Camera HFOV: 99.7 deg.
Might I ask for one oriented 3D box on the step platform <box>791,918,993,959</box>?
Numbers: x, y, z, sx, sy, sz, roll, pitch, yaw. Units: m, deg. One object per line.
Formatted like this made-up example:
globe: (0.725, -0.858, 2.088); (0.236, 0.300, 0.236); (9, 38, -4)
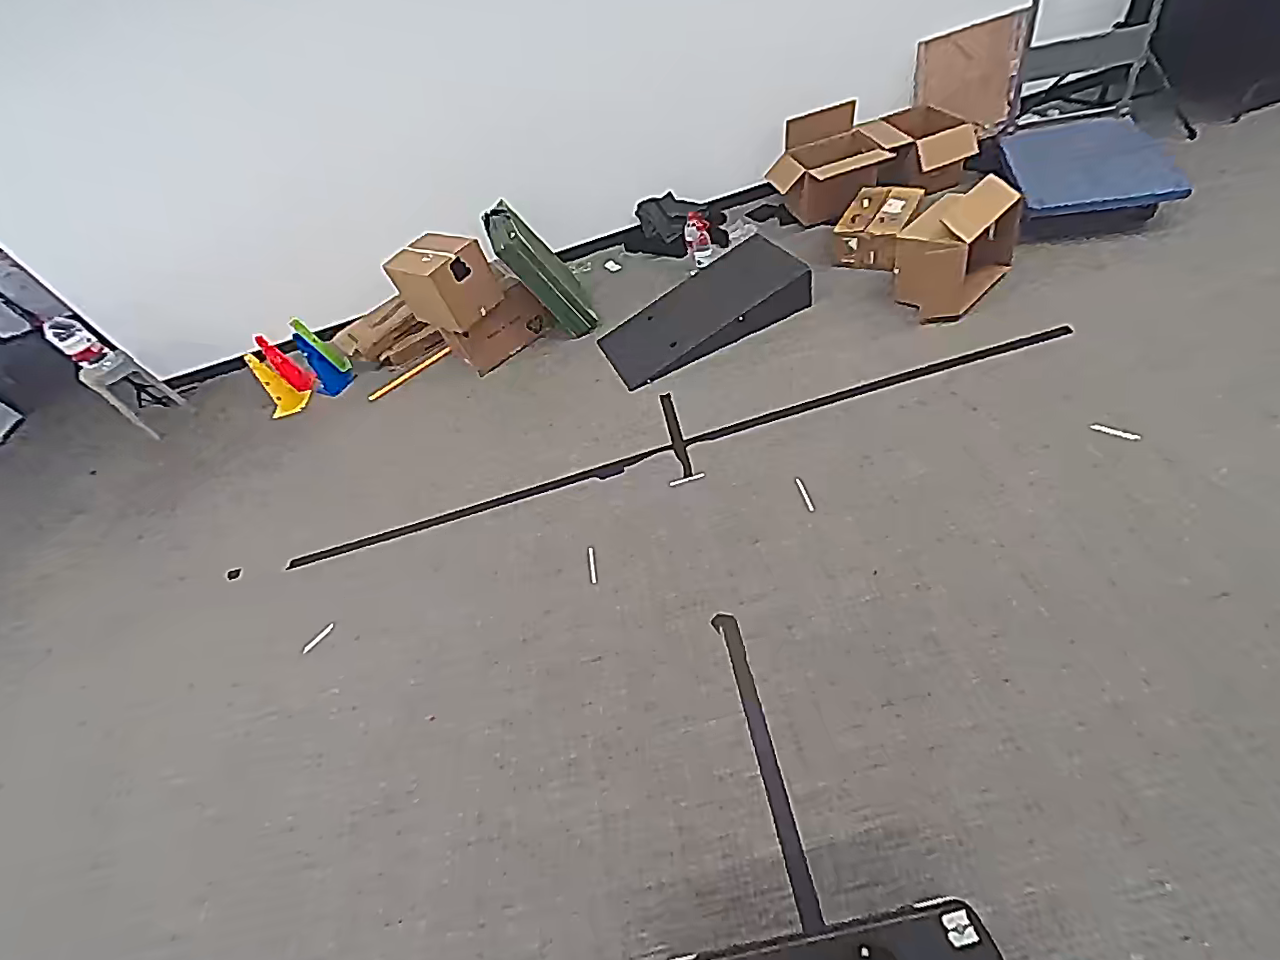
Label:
step platform: (0.361, 1.069, 1.007); (0.684, 0.204, 0.286); (-17, 48, 3)
